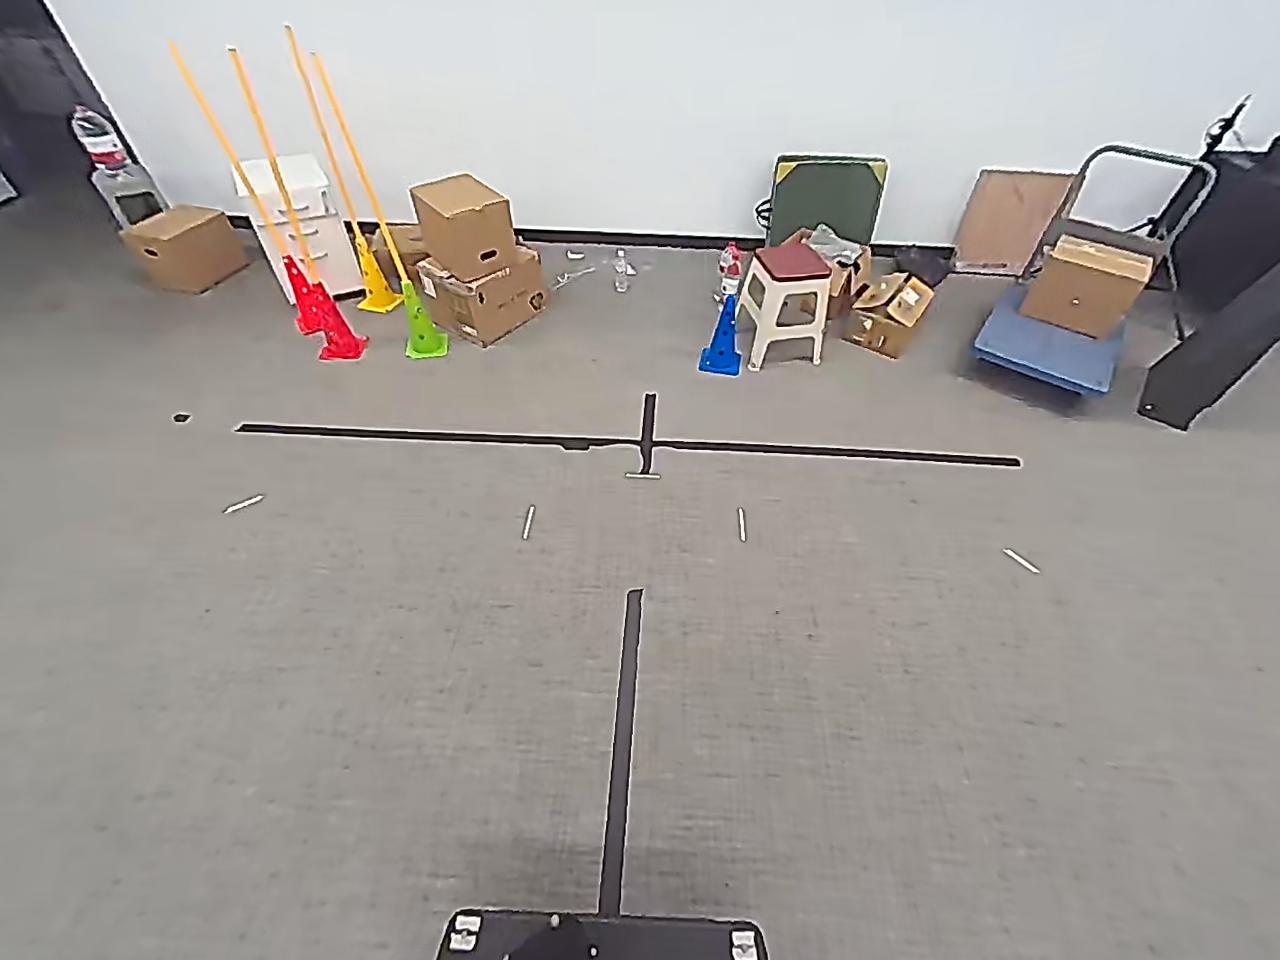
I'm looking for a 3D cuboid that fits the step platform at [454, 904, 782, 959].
[{"bbox_3d":[-0.046,1.053,1.094,0.684,0.204,0.286,3,48,-1],"label":"step platform"}]
